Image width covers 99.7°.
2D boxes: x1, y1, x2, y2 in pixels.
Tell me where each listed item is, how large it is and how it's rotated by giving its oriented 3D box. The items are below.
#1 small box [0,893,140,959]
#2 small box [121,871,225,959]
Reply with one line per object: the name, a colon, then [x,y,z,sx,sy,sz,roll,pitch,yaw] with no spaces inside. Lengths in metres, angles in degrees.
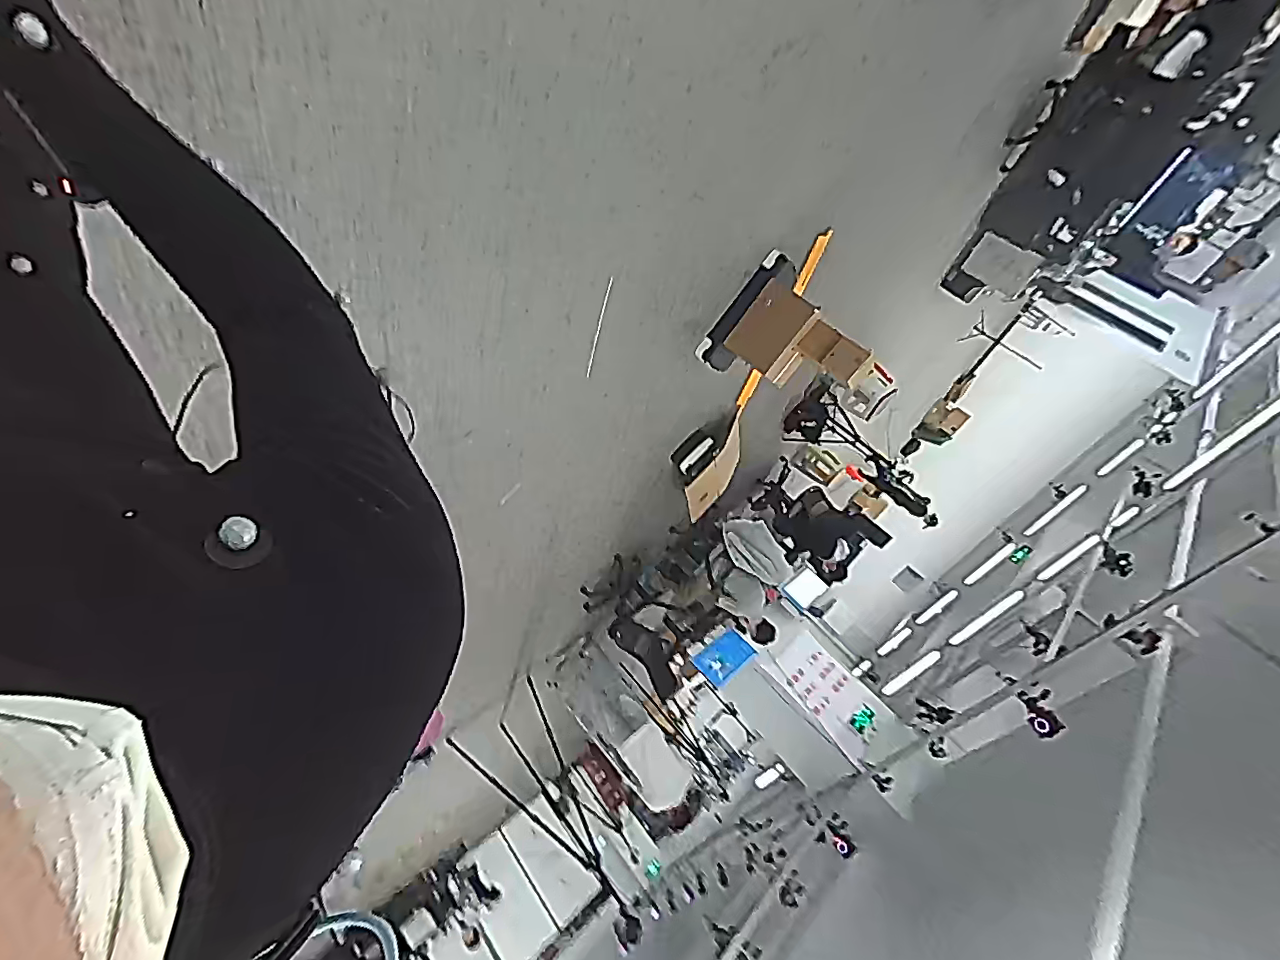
small box: [-1.298,1.089,1.214,0.179,0.176,0.168,-43,158,-9]
small box: [-1.259,1.173,1.428,0.168,0.176,0.179,-34,155,-26]
